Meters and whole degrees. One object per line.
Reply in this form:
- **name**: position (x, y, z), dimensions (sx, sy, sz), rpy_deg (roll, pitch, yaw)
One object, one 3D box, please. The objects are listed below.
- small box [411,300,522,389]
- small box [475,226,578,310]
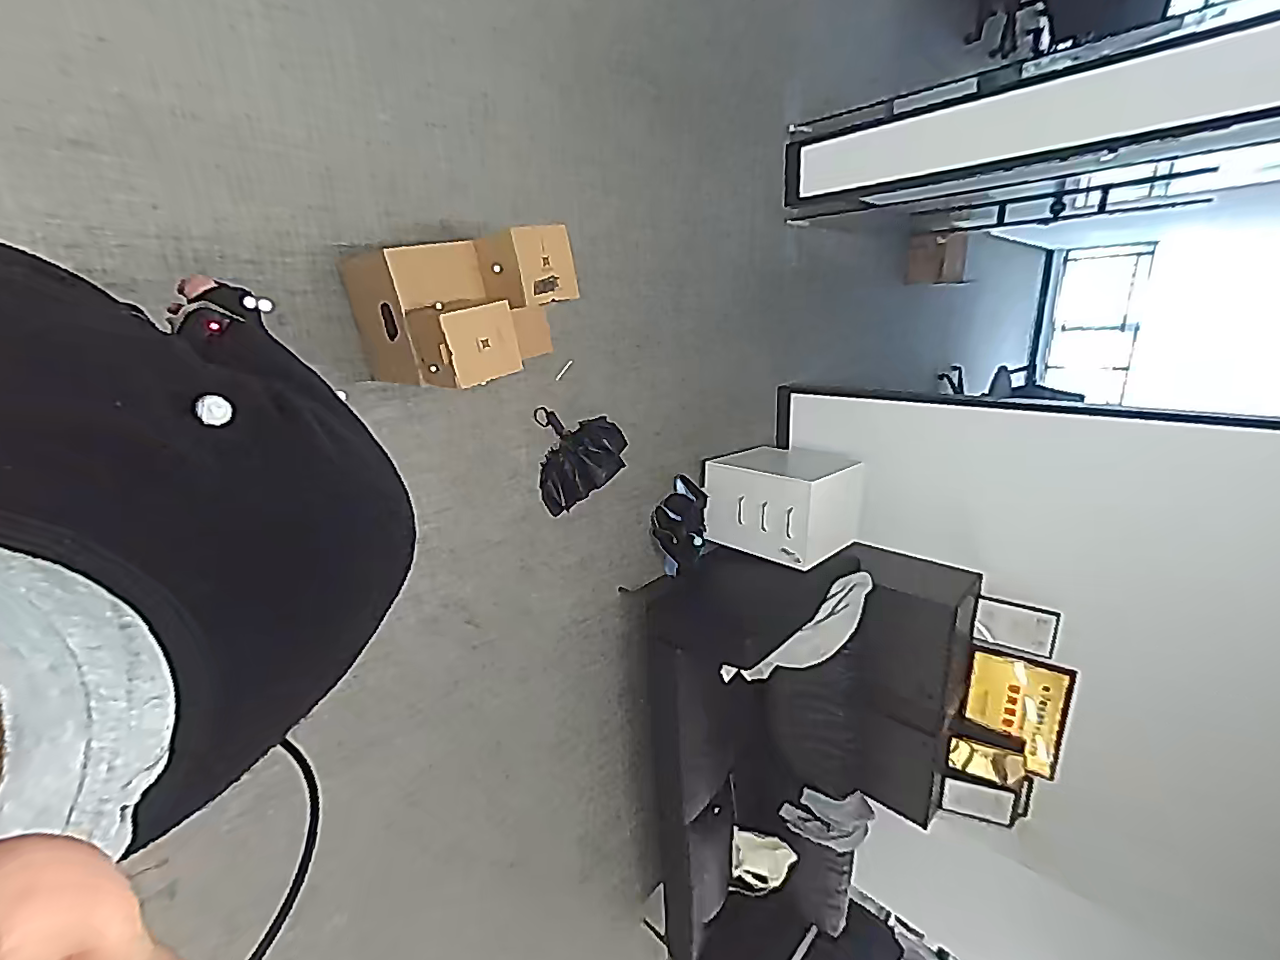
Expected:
- **small box**: position (-0.409, -0.320, 1.262), dimensions (0.179, 0.176, 0.168), rpy_deg (-32, 125, -39)
- **small box**: position (-0.283, -0.521, 1.344), dimensions (0.168, 0.176, 0.179), rpy_deg (-26, 115, -40)
